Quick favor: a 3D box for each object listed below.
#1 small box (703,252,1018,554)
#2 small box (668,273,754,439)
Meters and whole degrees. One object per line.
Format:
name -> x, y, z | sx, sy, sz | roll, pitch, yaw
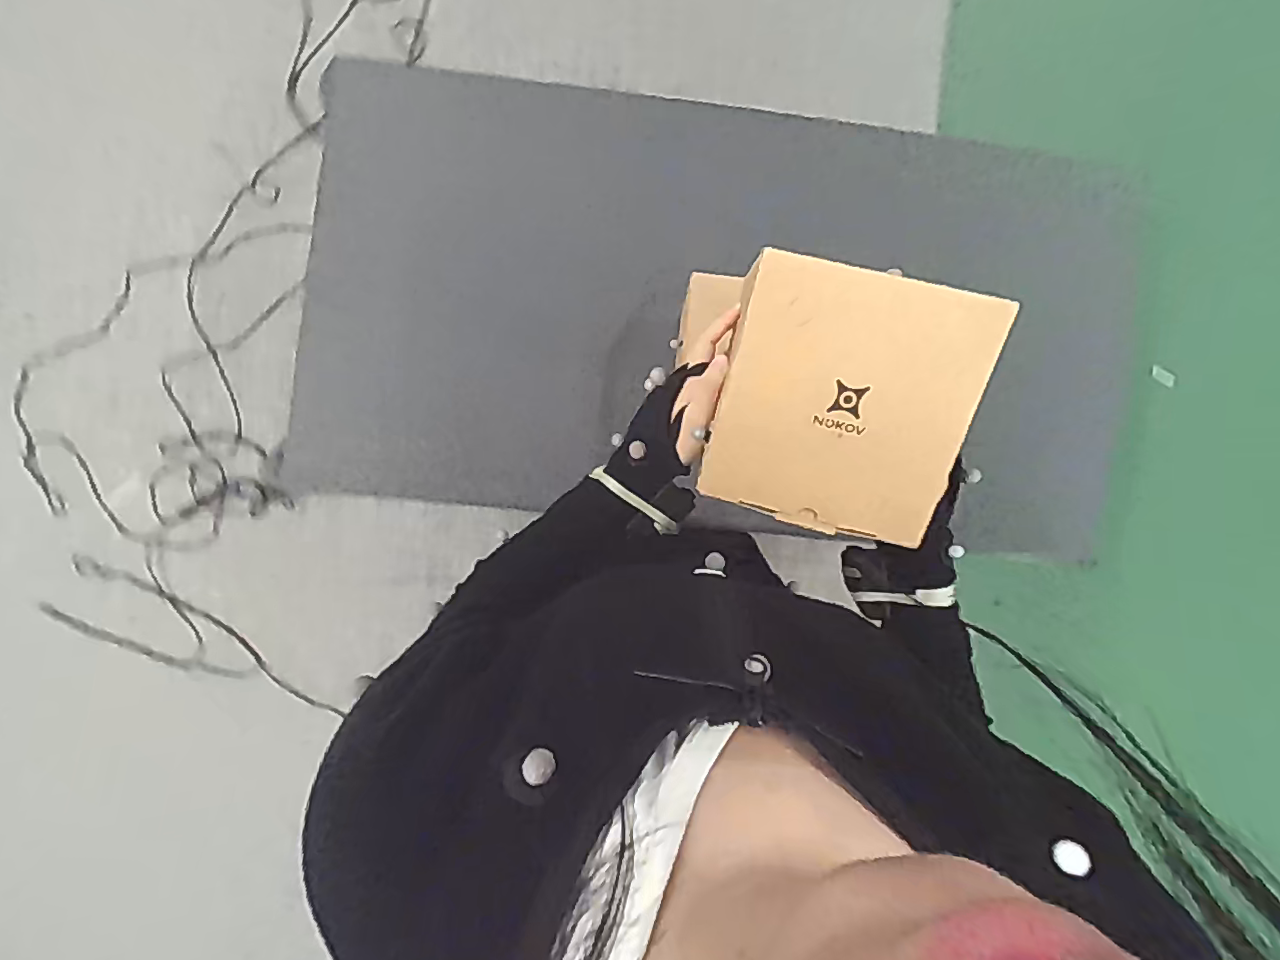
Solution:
small box -> 0.151, -0.068, 0.444 | 0.168, 0.176, 0.179 | 15, 107, 3
small box -> 0.129, -0.146, 0.710 | 0.168, 0.176, 0.179 | 6, 89, 0
